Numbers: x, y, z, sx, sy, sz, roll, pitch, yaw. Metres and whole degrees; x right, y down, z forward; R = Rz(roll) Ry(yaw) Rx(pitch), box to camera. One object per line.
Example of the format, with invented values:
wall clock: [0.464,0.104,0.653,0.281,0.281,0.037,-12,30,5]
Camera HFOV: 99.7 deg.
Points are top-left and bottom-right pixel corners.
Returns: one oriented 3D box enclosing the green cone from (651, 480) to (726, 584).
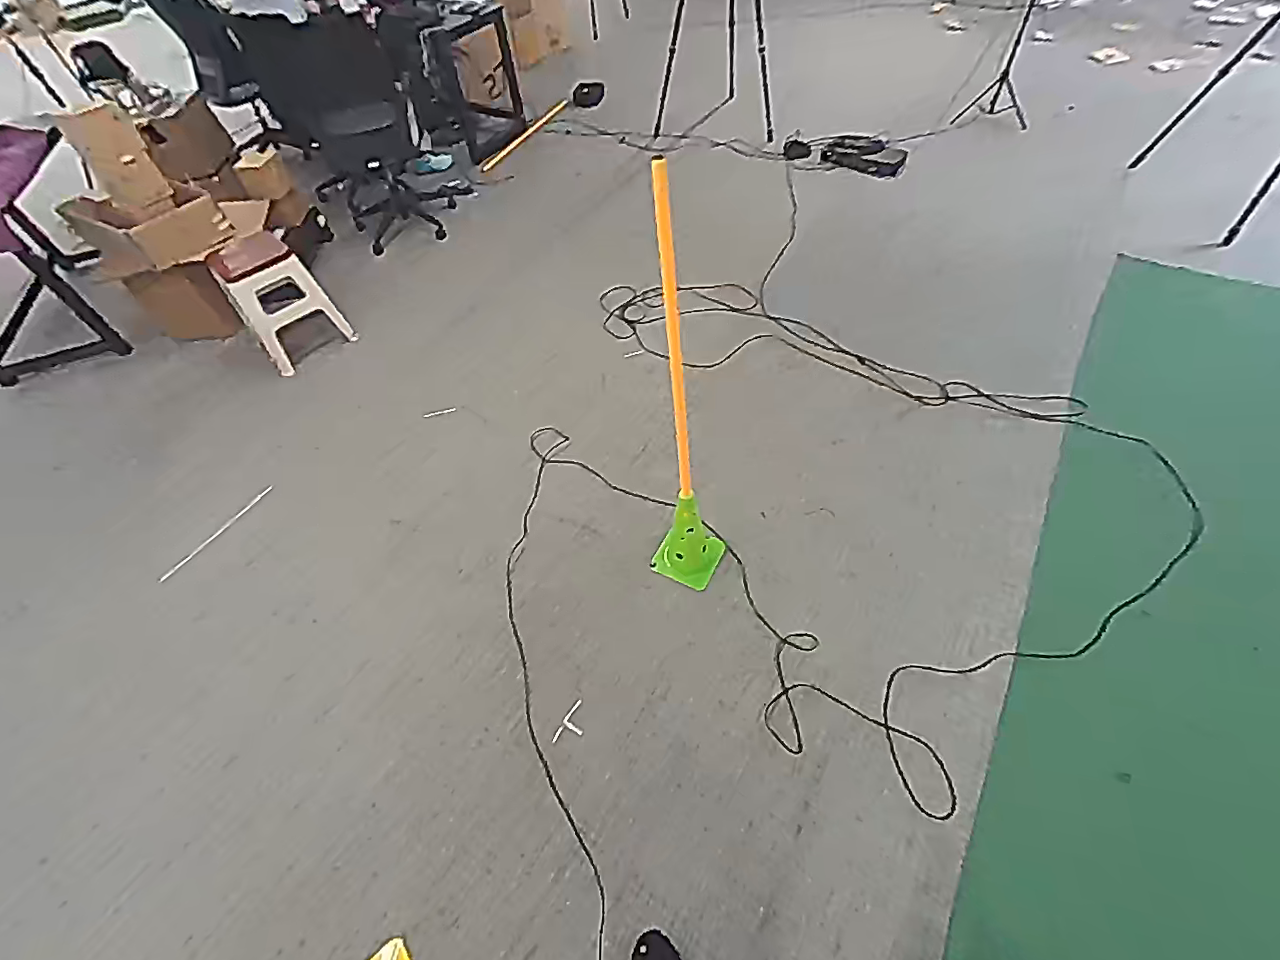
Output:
green cone: [0.151,0.129,1.650,0.200,0.368,0.202,21,57,20]
